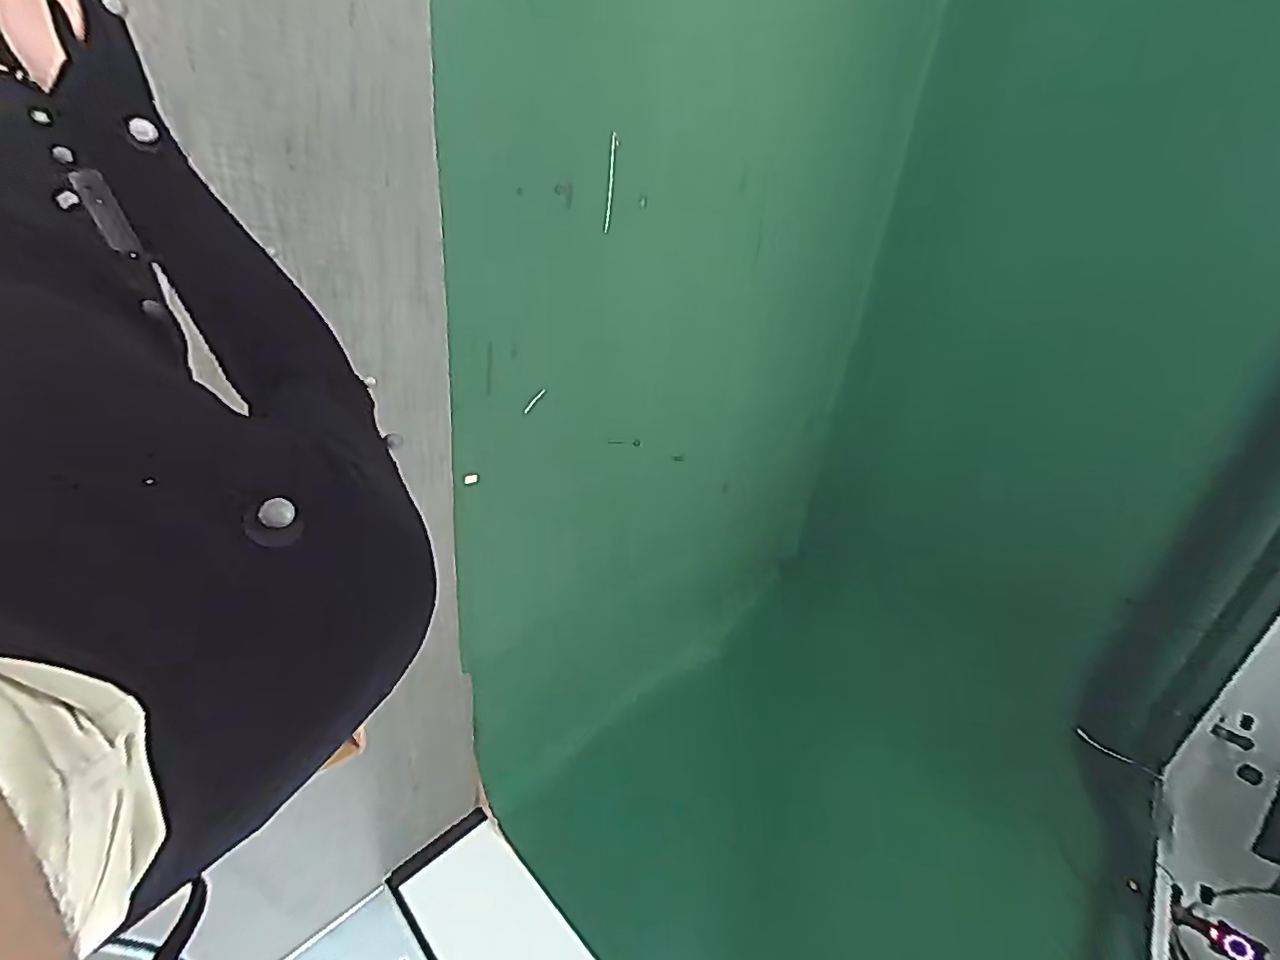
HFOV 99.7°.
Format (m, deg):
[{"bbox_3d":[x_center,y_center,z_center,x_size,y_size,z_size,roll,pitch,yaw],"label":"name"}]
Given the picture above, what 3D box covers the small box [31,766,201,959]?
[{"bbox_3d":[-0.888,0.636,0.921,0.179,0.176,0.168,-16,122,-44],"label":"small box"}]
